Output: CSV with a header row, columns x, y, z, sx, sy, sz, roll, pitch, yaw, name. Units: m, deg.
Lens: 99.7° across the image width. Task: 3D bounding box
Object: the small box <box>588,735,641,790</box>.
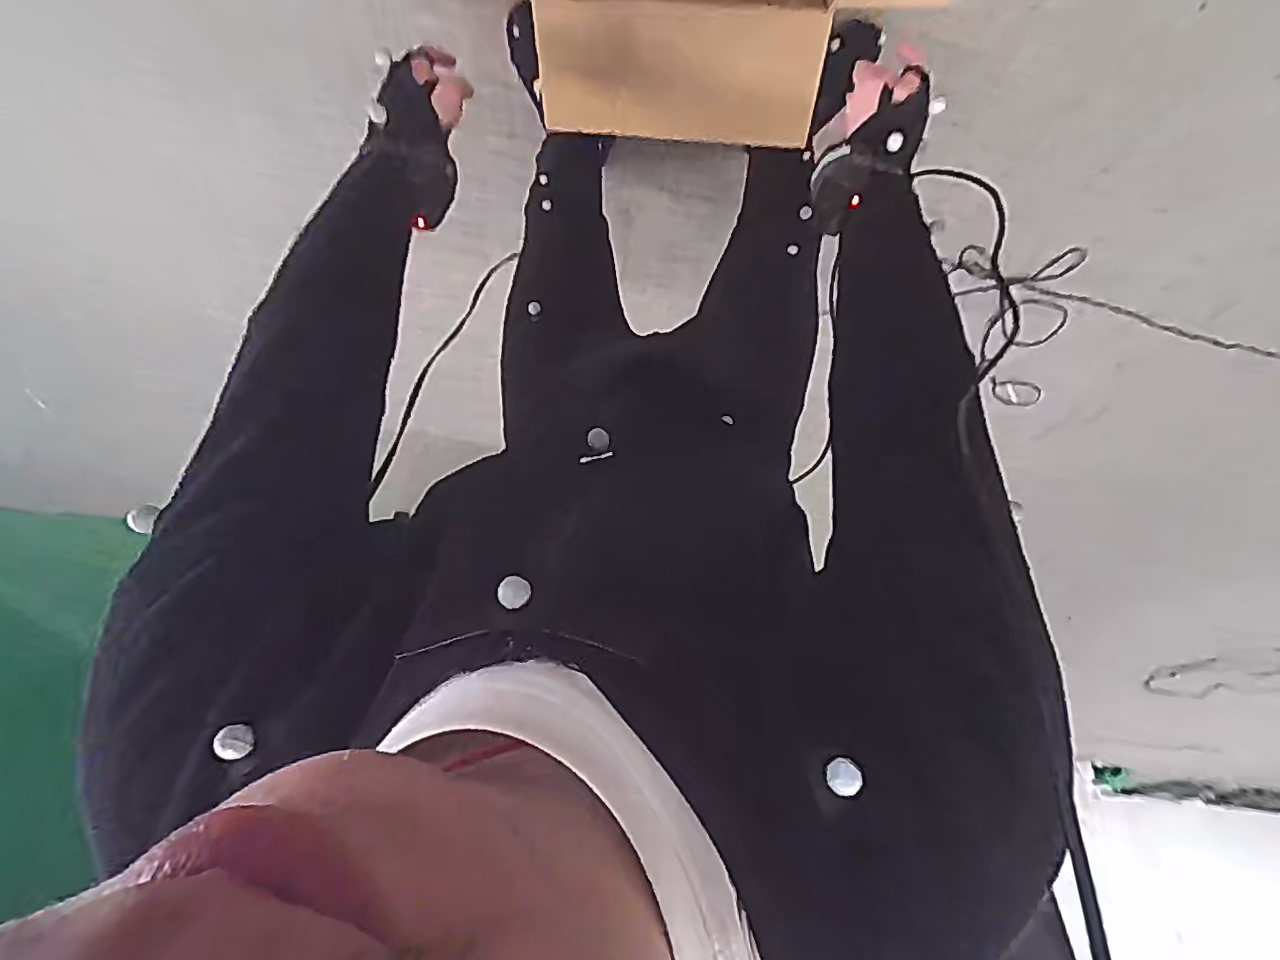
x,y,z,sx,sy,sz,roll,pitch,yaw,name
-0.100,1.135,2.175,0.179,0.176,0.168,11,144,-8,small box
